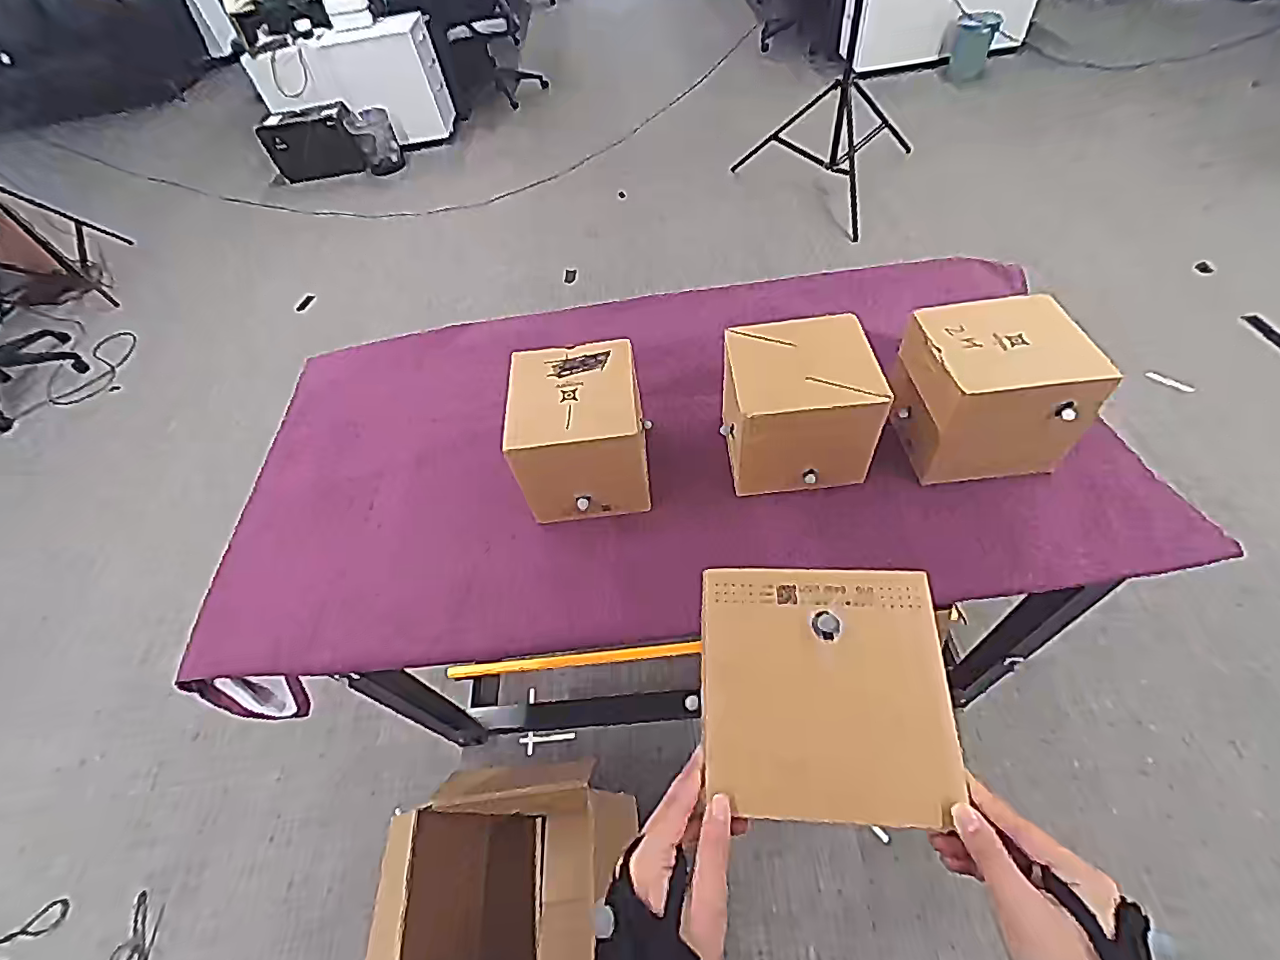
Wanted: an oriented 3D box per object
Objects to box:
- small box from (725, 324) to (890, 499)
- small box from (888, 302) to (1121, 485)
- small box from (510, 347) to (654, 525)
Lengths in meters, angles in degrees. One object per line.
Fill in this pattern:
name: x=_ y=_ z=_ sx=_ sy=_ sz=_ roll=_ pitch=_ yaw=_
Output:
small box: x=0.214 y=-0.094 z=0.741 sx=0.179 sy=0.176 sz=0.168 roll=-6 pitch=51 yaw=5
small box: x=0.458 y=-0.110 z=0.717 sx=0.179 sy=0.176 sz=0.168 roll=-5 pitch=50 yaw=4
small box: x=-0.072 y=-0.058 z=0.760 sx=0.168 sy=0.176 sz=0.179 roll=-7 pitch=53 yaw=3
